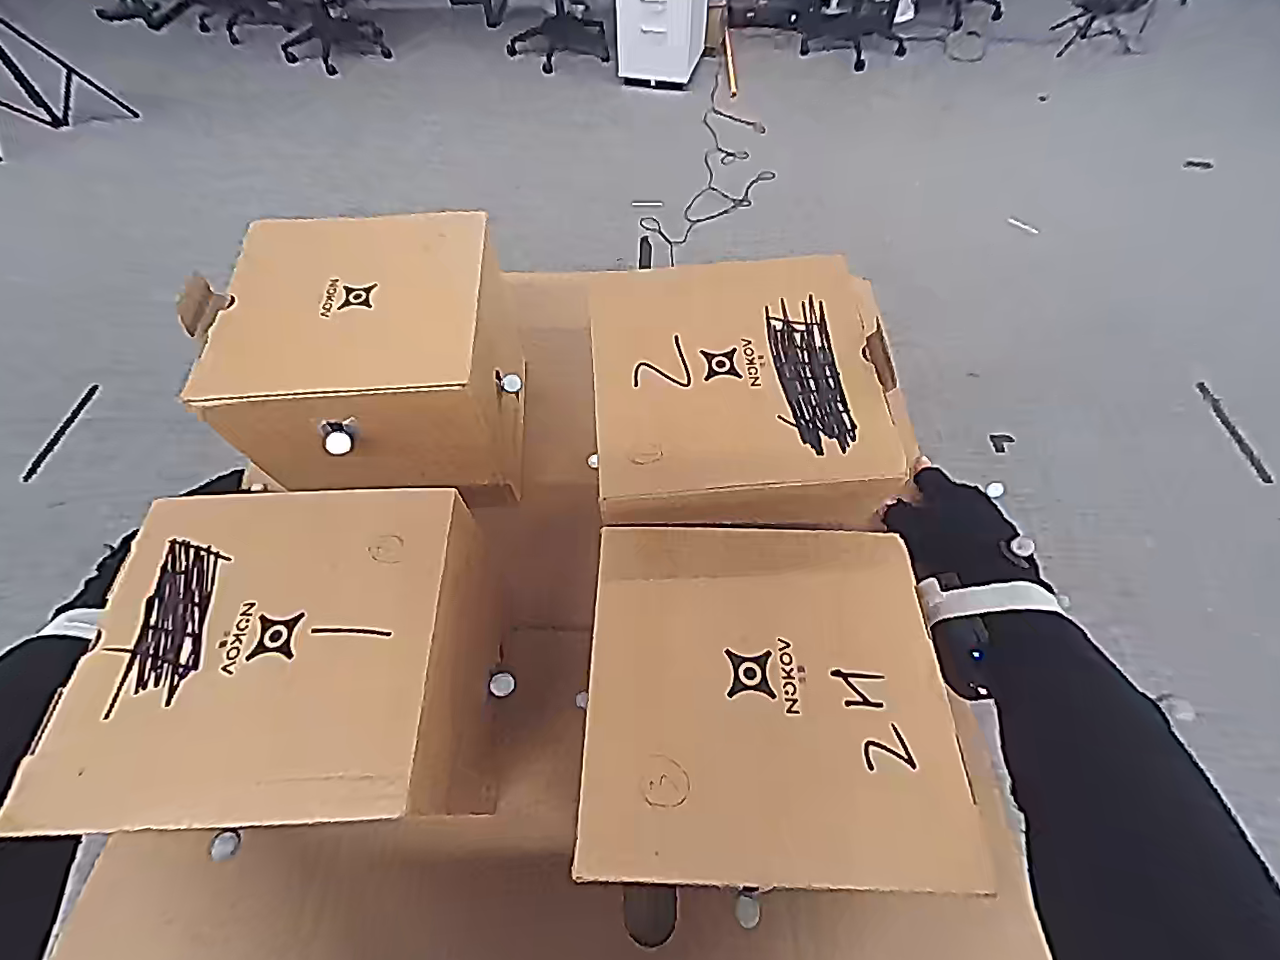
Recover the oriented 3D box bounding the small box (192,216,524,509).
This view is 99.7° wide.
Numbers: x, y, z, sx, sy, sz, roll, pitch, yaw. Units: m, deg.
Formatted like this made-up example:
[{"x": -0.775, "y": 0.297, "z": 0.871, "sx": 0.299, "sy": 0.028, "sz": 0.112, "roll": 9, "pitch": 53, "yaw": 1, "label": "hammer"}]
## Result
[{"x": -0.198, "y": -0.087, "z": 0.446, "sx": 0.179, "sy": 0.176, "sz": 0.168, "roll": -4, "pitch": 61, "yaw": -1, "label": "small box"}]
